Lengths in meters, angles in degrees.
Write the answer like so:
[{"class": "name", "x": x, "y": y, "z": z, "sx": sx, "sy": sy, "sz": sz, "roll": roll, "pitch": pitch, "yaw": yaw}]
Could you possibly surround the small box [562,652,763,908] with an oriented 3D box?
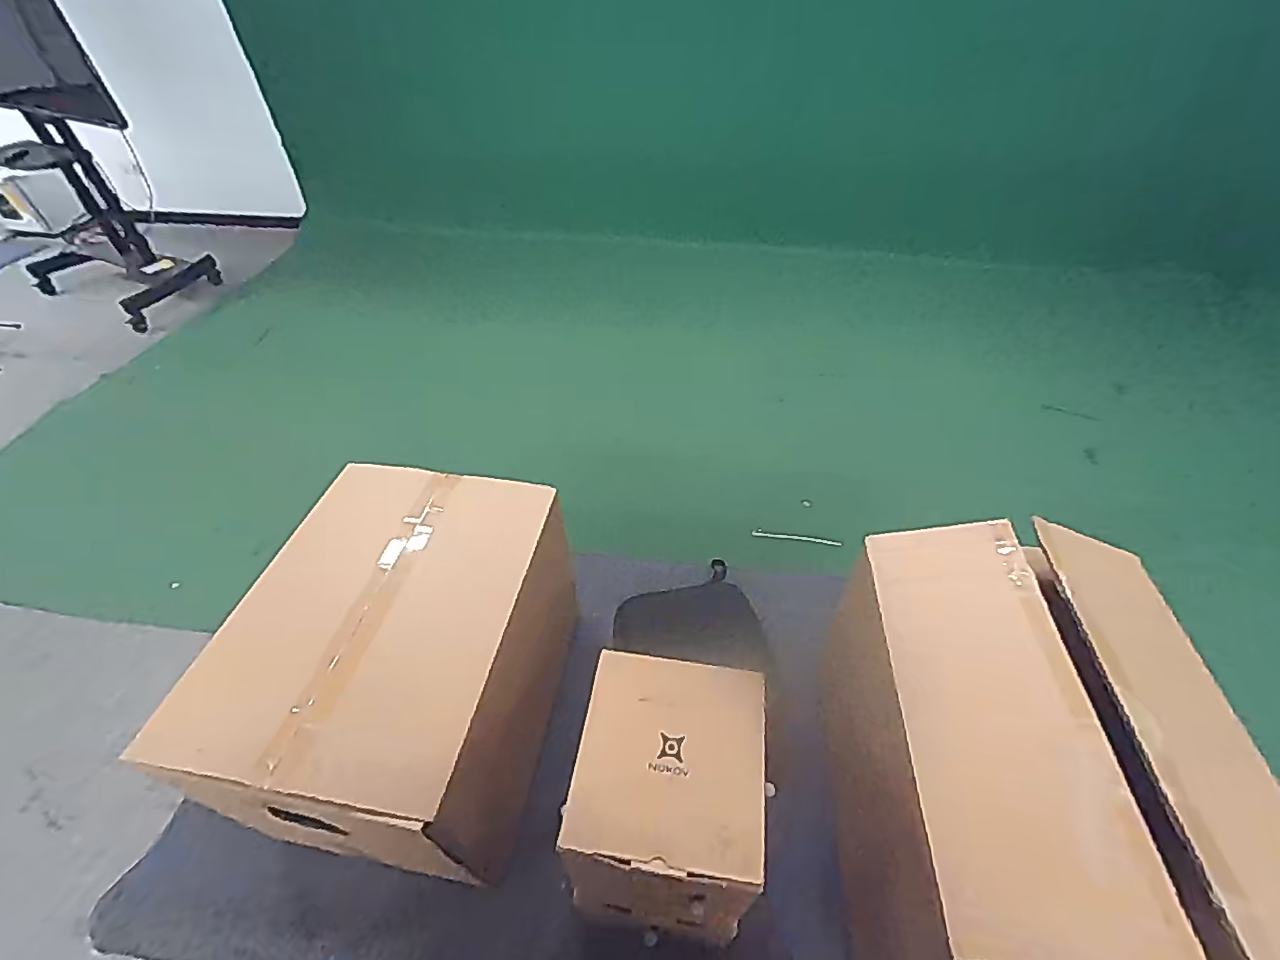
[{"class": "small box", "x": 0.029, "y": 0.302, "z": 0.543, "sx": 0.168, "sy": 0.176, "sz": 0.179, "roll": 7, "pitch": 45, "yaw": 5}]
